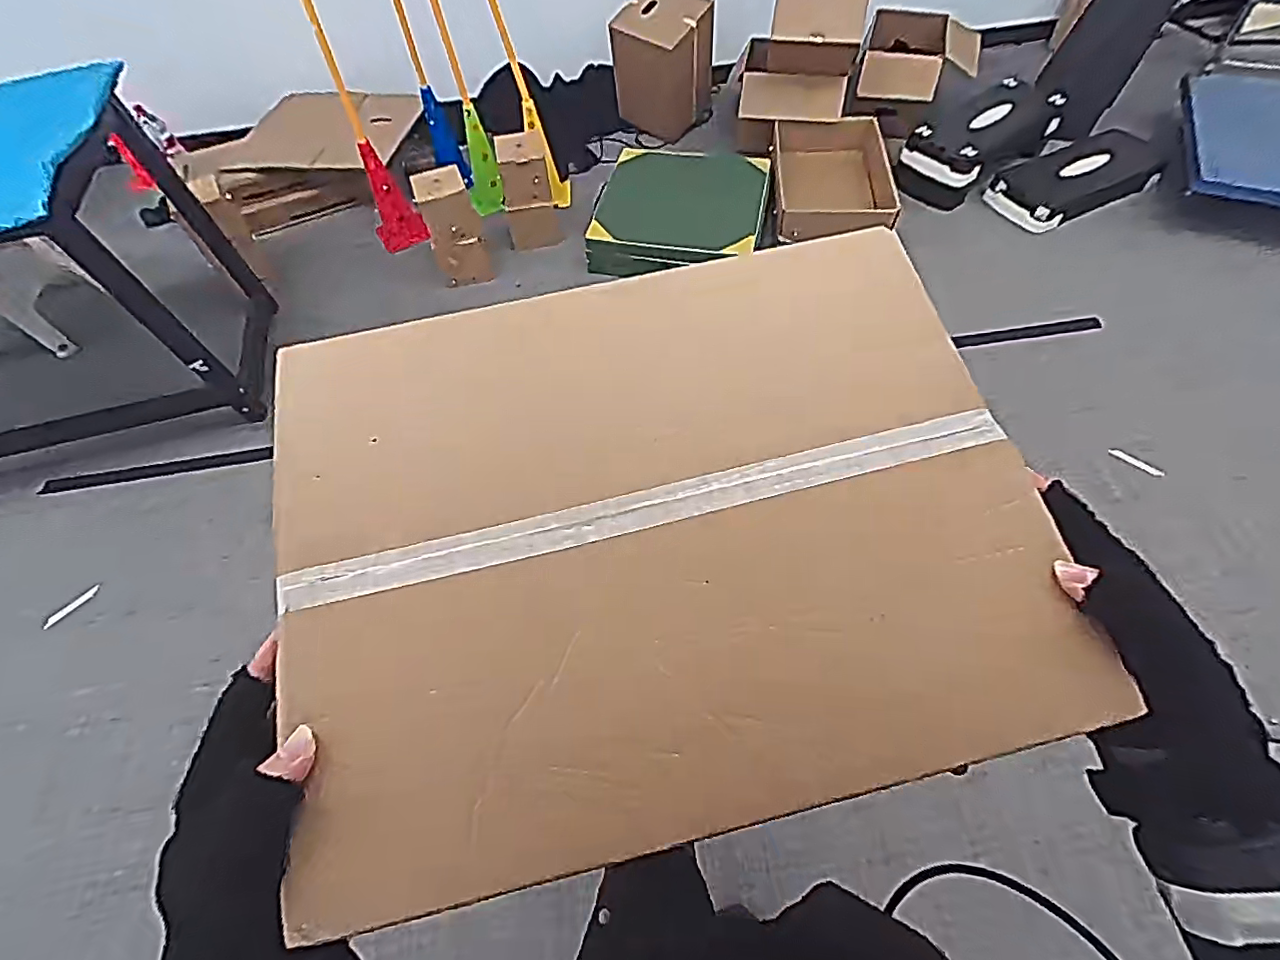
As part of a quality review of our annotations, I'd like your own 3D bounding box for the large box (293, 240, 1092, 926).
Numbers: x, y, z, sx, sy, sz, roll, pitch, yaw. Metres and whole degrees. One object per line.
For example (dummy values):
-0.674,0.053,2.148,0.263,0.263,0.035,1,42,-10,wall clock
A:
0.010,0.069,0.450,0.408,0.320,0.320,-14,69,-3,large box
